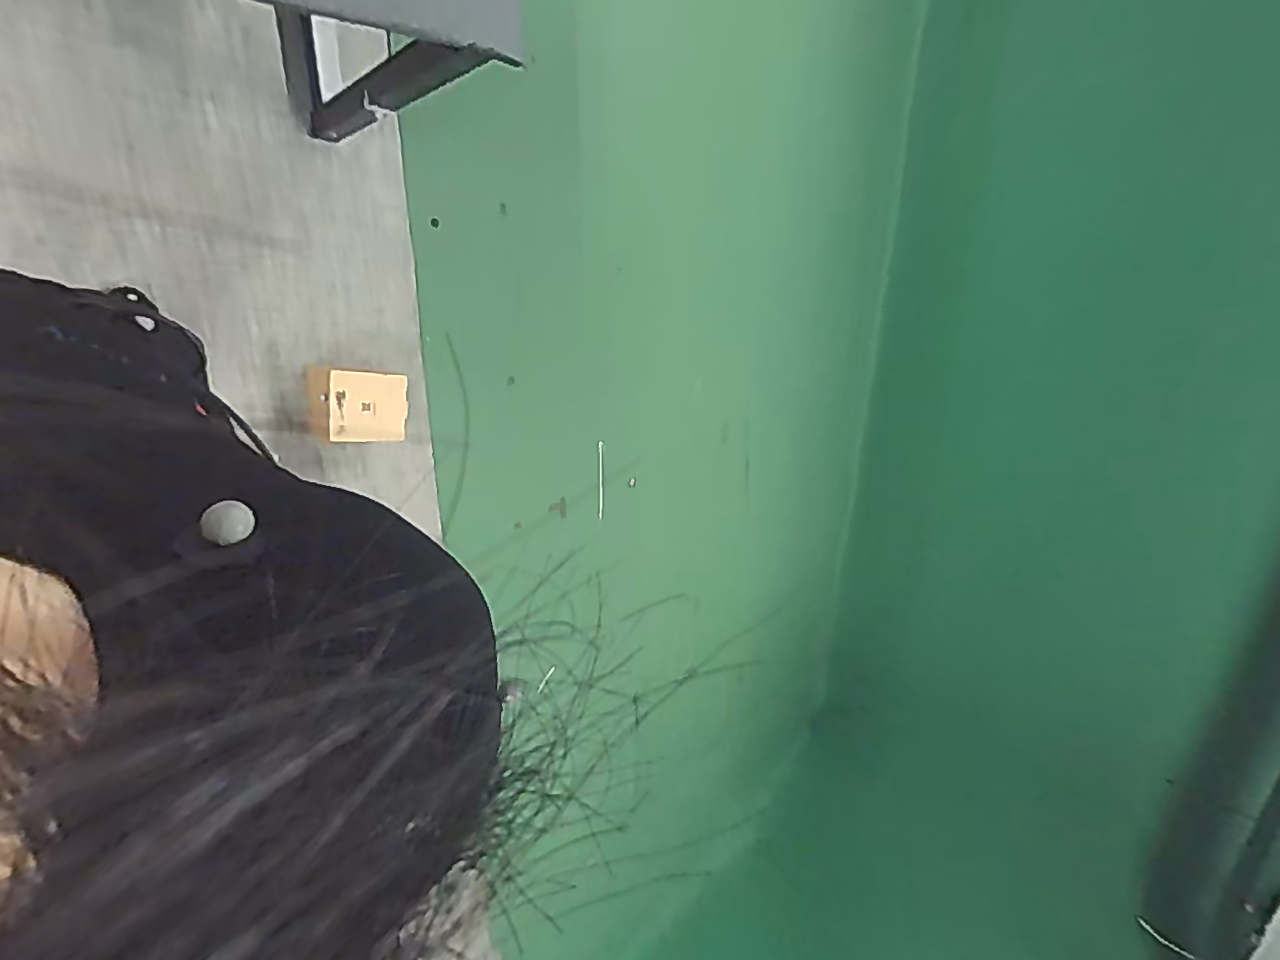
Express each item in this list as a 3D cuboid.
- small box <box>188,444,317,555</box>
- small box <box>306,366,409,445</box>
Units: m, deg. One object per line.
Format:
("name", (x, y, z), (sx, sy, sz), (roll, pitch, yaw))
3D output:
("small box", (-0.875, 0.040, 1.215), (0.168, 0.176, 0.179), (39, 74, -47))
("small box", (-0.695, -0.184, 1.329), (0.179, 0.176, 0.168), (-4, 107, -46))
